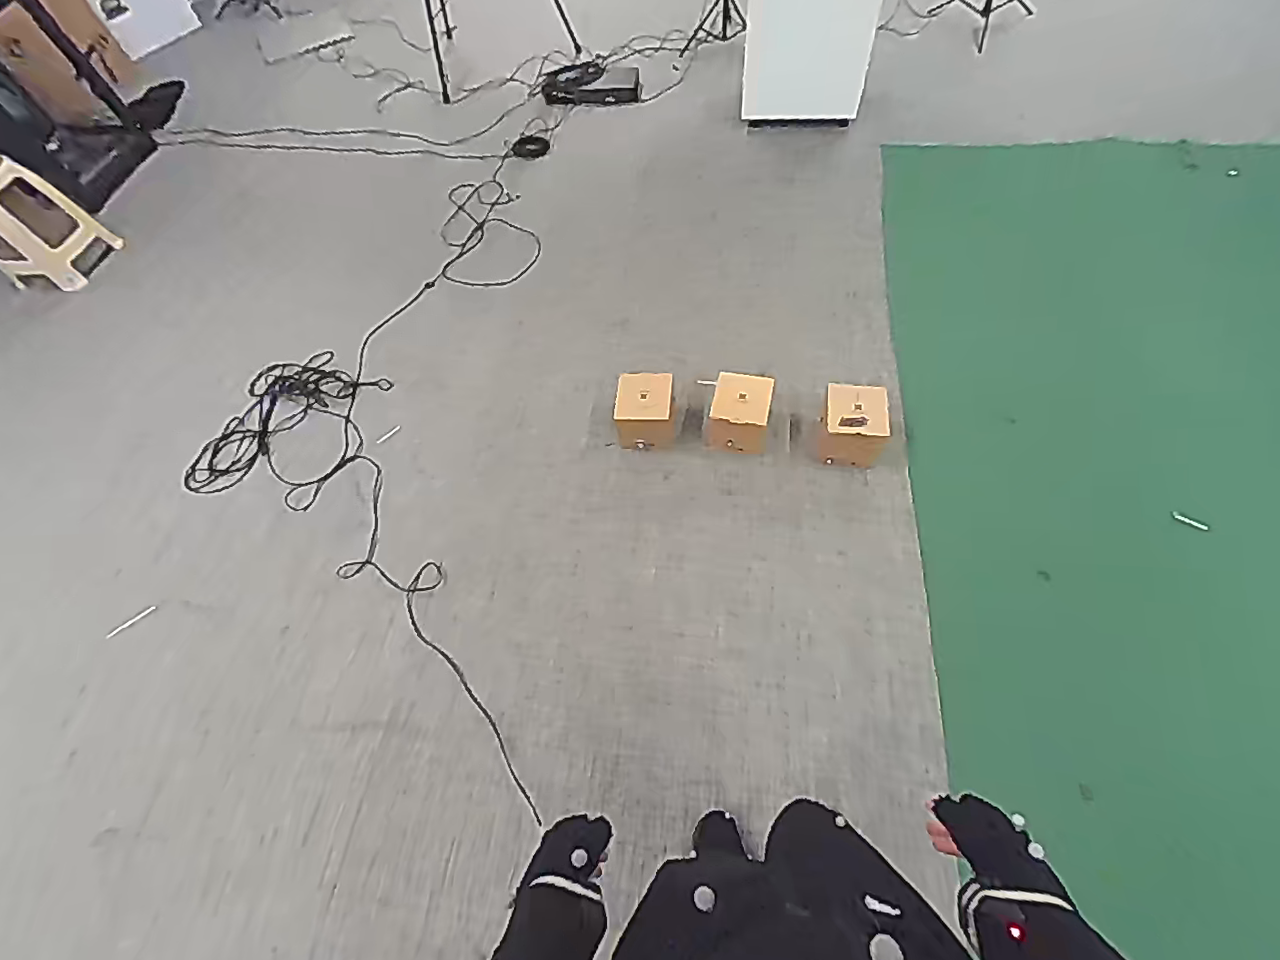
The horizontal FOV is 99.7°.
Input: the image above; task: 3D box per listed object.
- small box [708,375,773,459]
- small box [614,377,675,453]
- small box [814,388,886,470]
[{"bbox_3d":[0.302,-0.189,1.646,0.168,0.176,0.179,10,62,11],"label":"small box"},{"bbox_3d":[0.019,-0.202,1.681,0.168,0.176,0.179,1,62,8],"label":"small box"},{"bbox_3d":[0.614,-0.147,1.591,0.168,0.176,0.179,6,60,9],"label":"small box"}]
